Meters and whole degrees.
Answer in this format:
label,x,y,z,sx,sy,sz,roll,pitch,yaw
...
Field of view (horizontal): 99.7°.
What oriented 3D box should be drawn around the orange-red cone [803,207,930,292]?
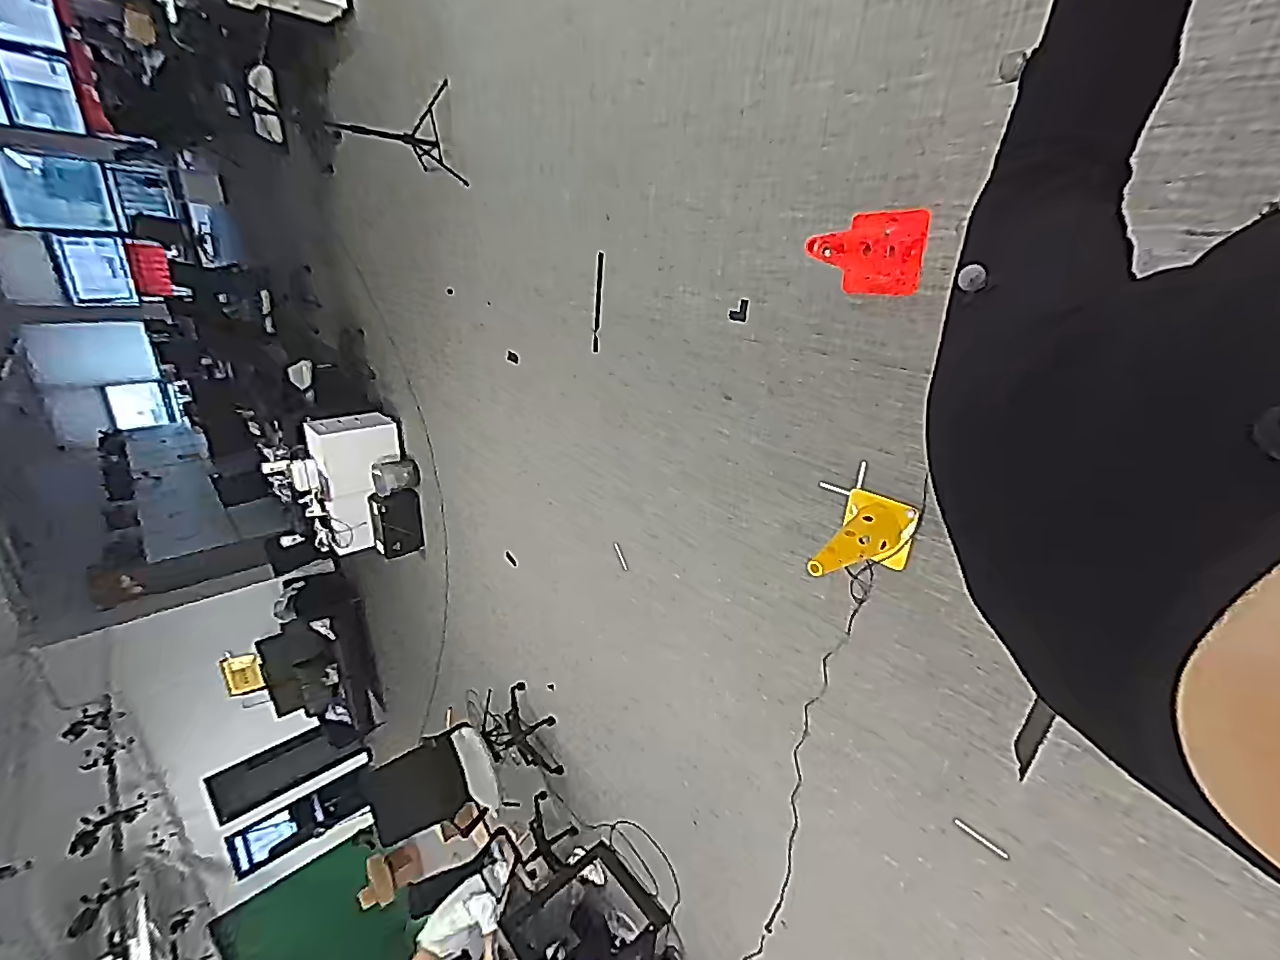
label,x,y,z,sx,sy,sz,roll,pitch,yaw
orange-red cone,0.500,-0.547,1.278,0.198,0.360,0.199,24,122,43
